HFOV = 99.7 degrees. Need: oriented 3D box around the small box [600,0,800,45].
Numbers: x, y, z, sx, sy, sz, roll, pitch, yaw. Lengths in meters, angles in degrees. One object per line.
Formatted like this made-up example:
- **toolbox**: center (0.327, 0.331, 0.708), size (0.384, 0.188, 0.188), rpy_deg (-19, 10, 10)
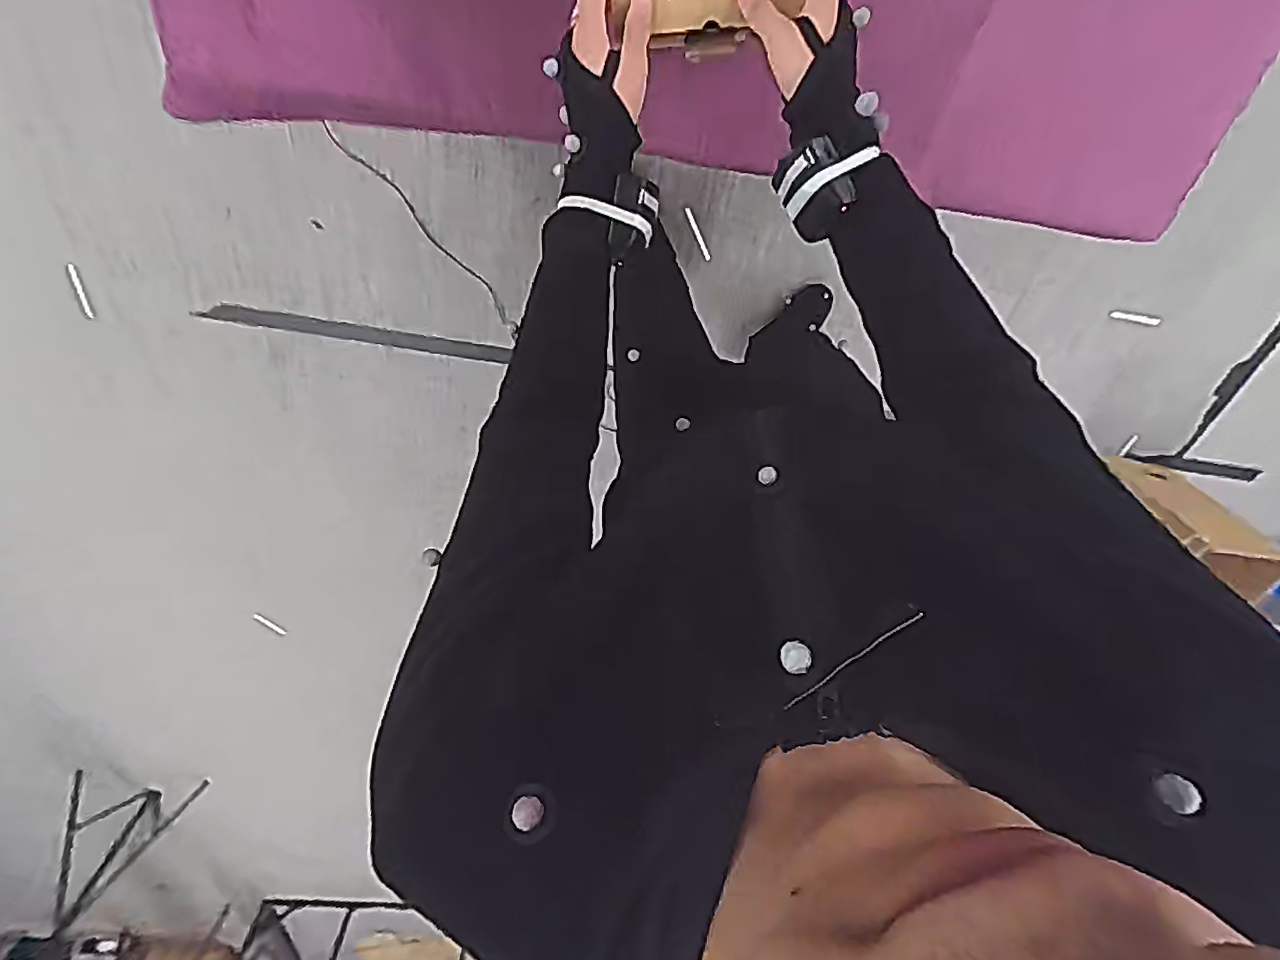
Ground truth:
- **small box**: center (0.043, -0.496, 0.464), size (0.168, 0.176, 0.179), rpy_deg (-3, 126, 1)
